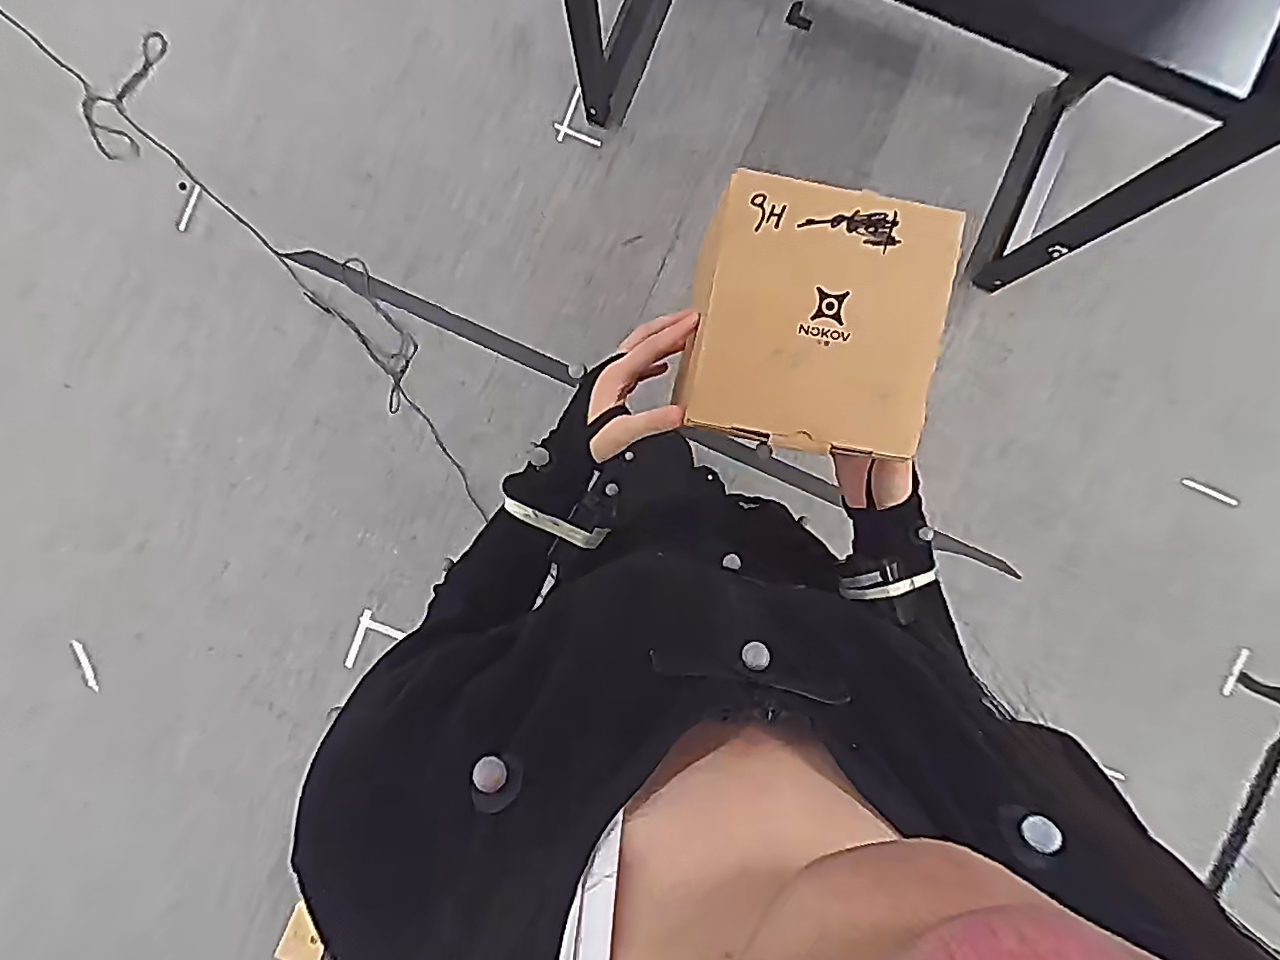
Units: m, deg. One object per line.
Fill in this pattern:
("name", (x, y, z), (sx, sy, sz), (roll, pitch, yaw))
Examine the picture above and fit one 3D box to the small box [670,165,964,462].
("small box", (0.122, -0.120, 0.451), (0.168, 0.176, 0.179), (10, 96, -4))
